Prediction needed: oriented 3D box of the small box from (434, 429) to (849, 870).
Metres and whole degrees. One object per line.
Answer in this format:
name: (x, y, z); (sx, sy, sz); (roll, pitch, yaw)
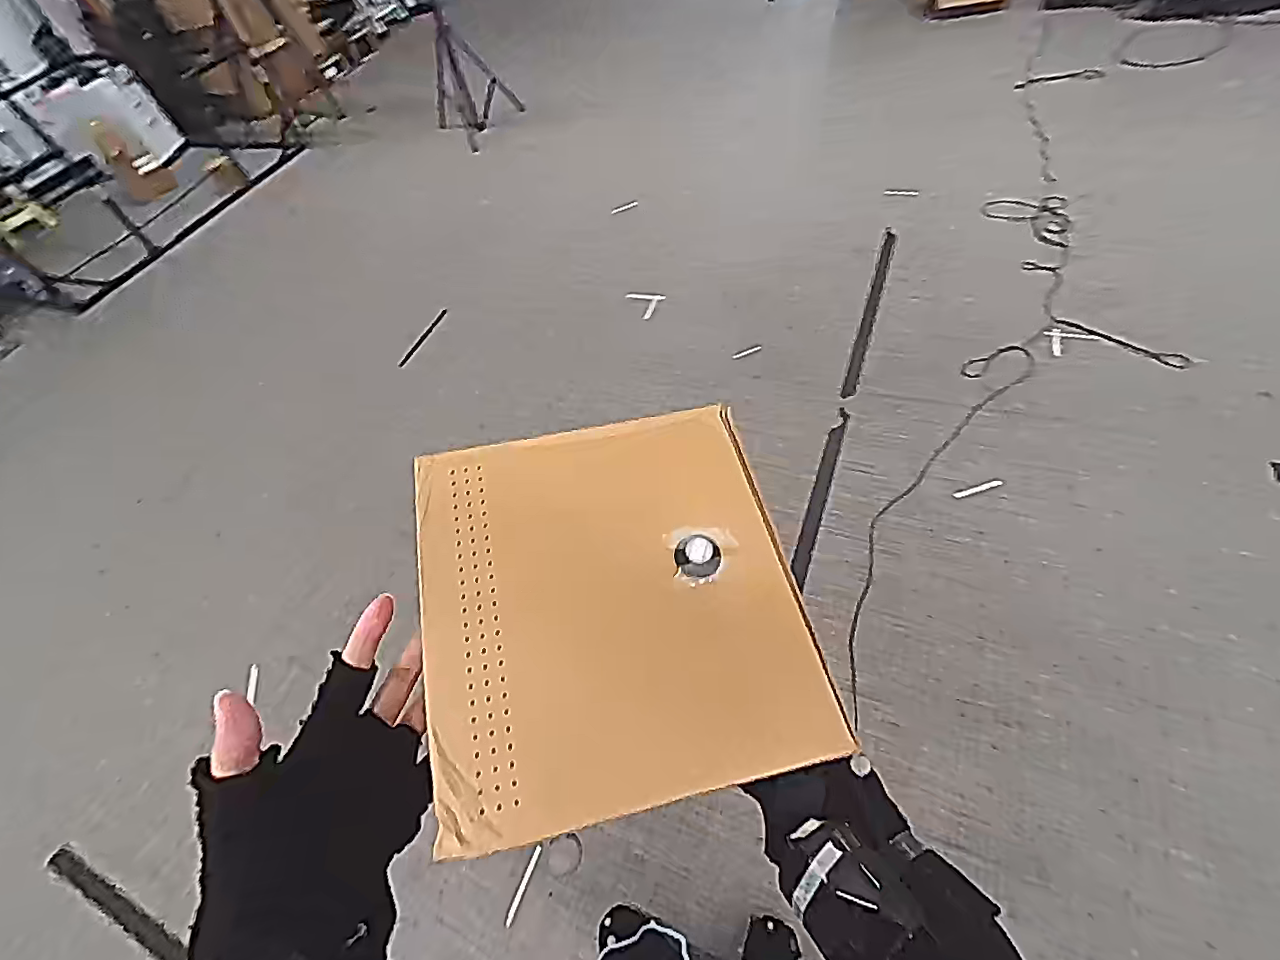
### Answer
small box: (-0.015, 0.097, 0.321); (0.176, 0.168, 0.179); (-11, 61, -7)
